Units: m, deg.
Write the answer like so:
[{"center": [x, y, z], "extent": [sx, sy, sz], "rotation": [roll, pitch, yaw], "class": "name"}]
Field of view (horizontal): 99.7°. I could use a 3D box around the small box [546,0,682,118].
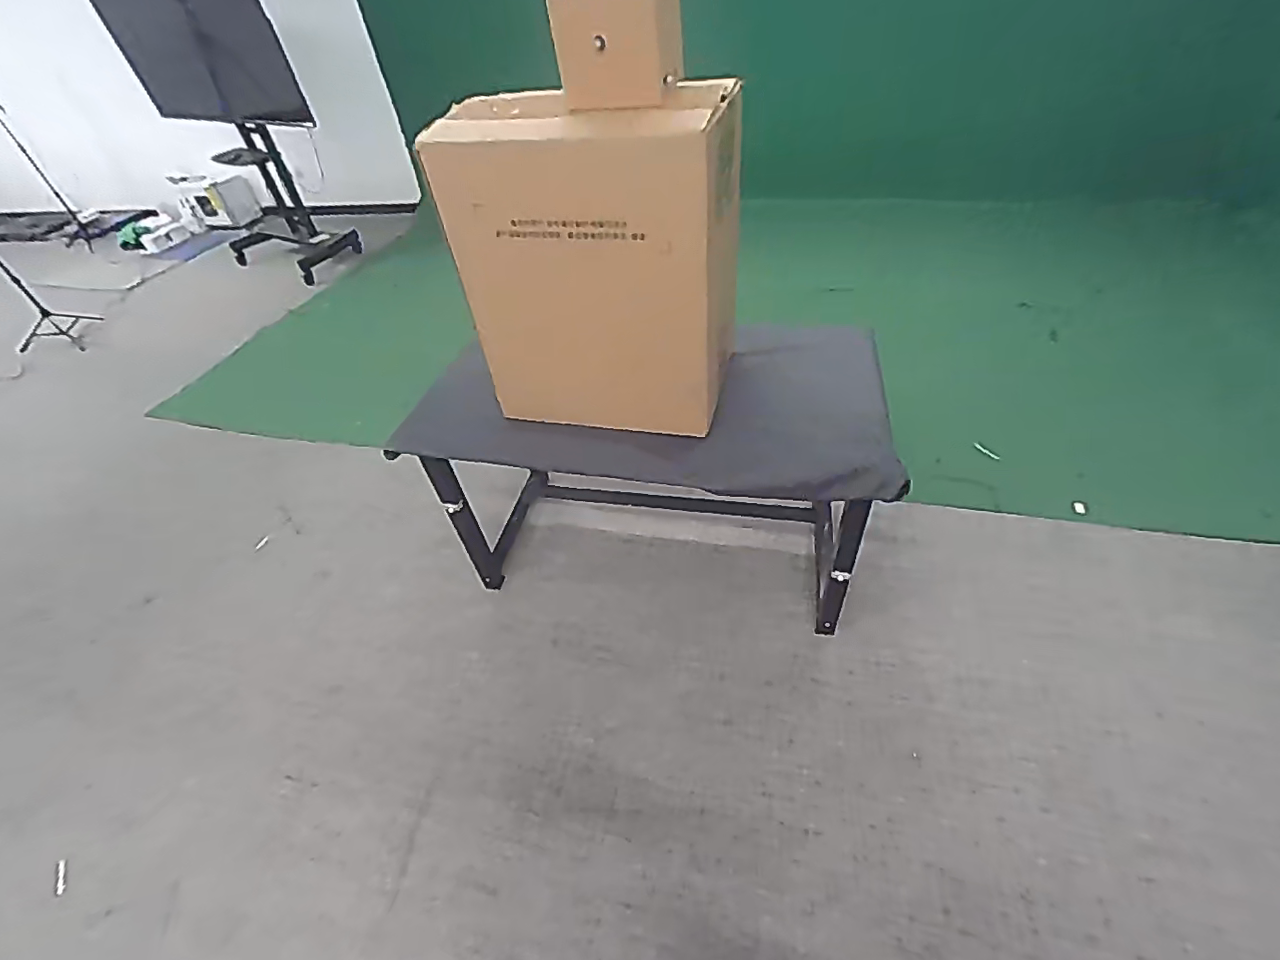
[{"center": [-0.031, -0.741, 0.920], "extent": [0.179, 0.176, 0.168], "rotation": [8, 53, 16], "class": "small box"}]
